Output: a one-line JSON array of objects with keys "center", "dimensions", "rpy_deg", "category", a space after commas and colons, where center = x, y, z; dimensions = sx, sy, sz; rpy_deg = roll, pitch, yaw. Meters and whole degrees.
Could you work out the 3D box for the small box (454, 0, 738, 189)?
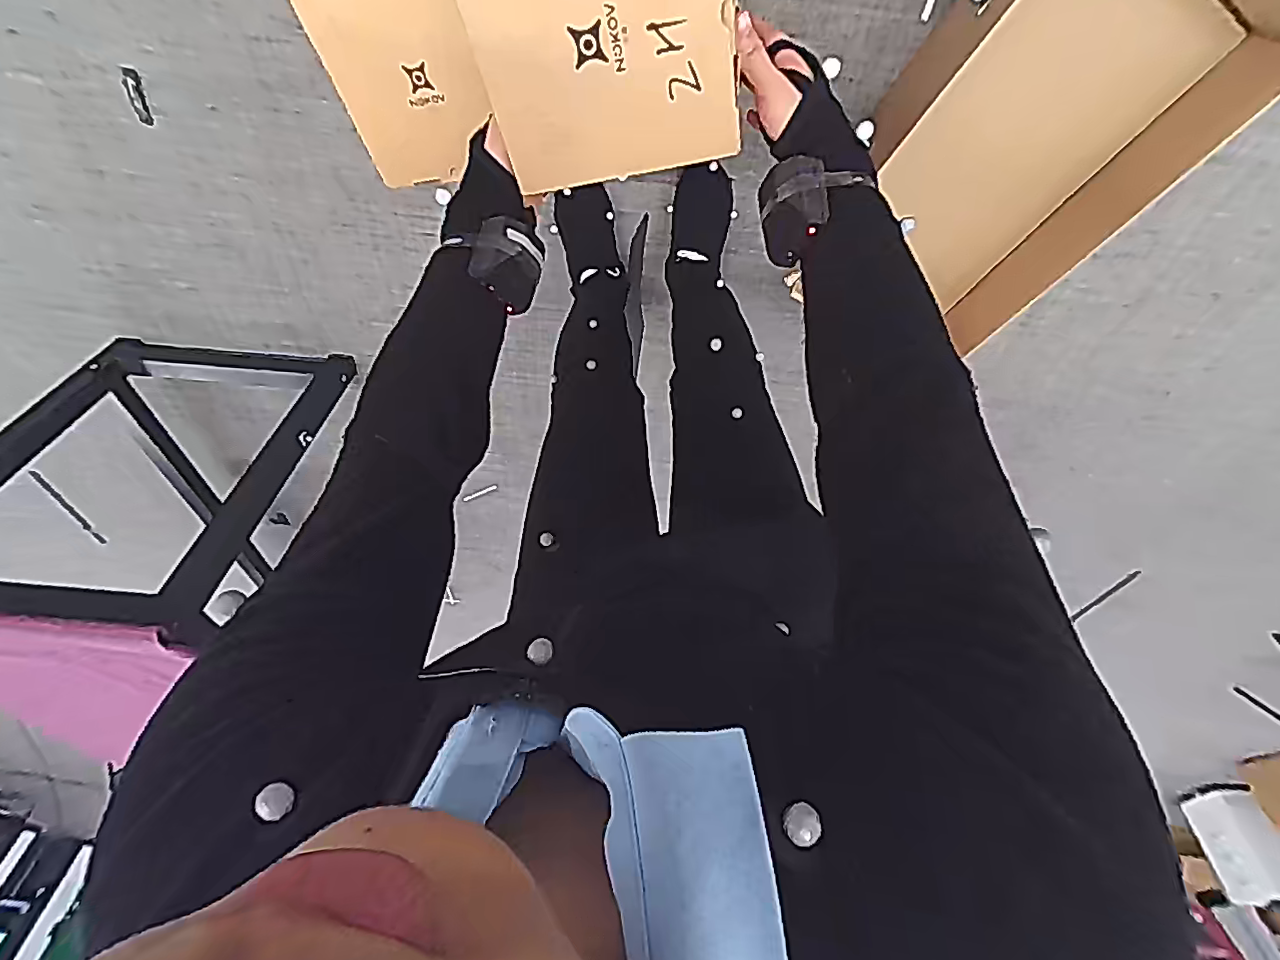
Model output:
[{"center": [-0.021, -0.347, 0.404], "dimensions": [0.179, 0.176, 0.168], "rpy_deg": [-5, 138, 10], "category": "small box"}]
